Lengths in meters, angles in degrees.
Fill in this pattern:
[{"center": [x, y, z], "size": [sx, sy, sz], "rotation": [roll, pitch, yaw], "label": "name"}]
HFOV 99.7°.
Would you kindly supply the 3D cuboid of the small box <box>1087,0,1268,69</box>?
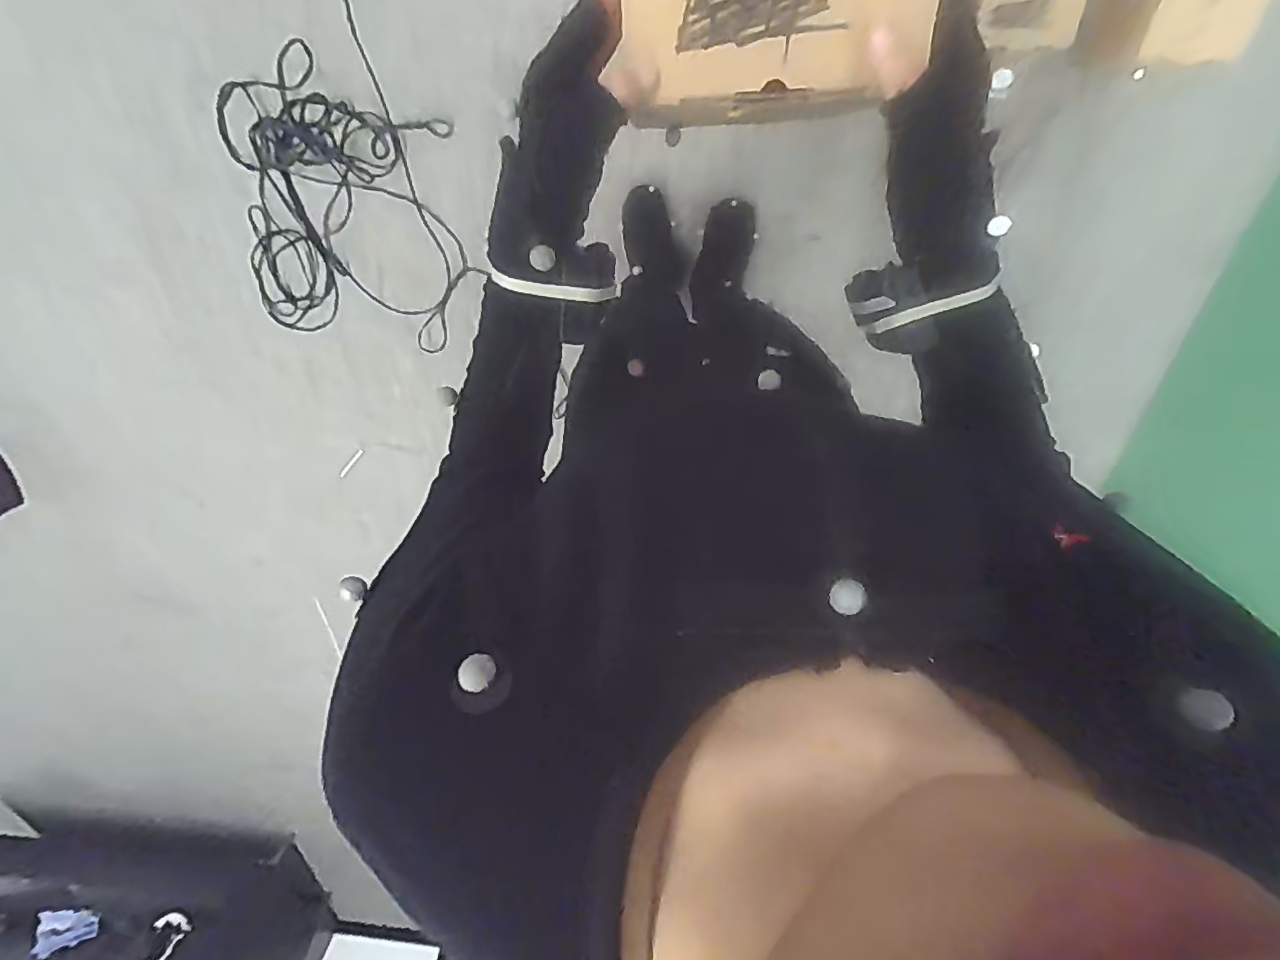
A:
[{"center": [0.926, -0.825, 0.924], "size": [0.168, 0.176, 0.179], "rotation": [6, 123, 4], "label": "small box"}]
